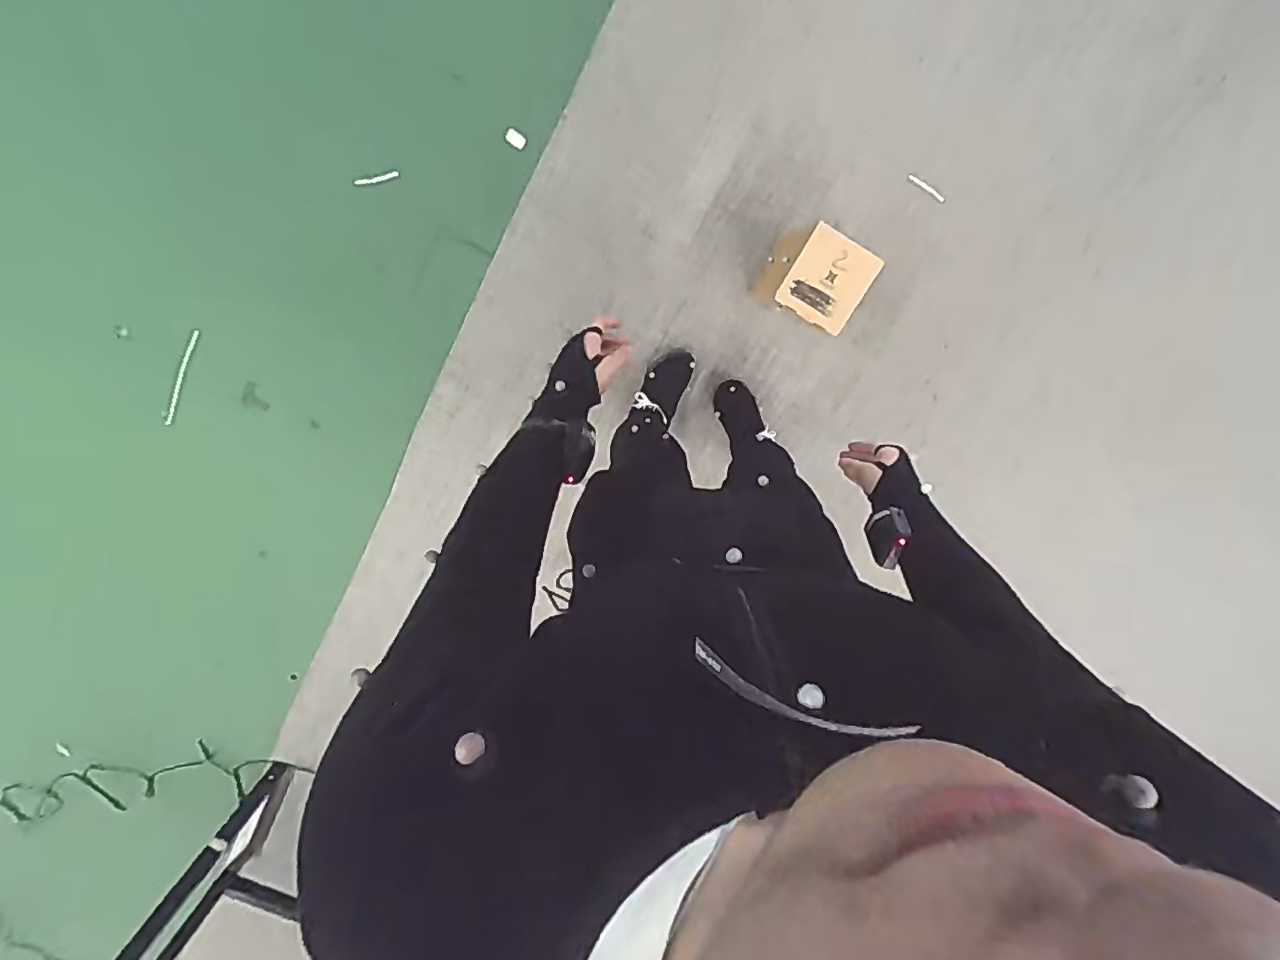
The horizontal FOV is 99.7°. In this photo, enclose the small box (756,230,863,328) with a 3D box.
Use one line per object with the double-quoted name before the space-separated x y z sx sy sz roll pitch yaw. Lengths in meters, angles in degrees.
"small box" 0.415 -0.498 1.364 0.179 0.176 0.168 29 107 -7
